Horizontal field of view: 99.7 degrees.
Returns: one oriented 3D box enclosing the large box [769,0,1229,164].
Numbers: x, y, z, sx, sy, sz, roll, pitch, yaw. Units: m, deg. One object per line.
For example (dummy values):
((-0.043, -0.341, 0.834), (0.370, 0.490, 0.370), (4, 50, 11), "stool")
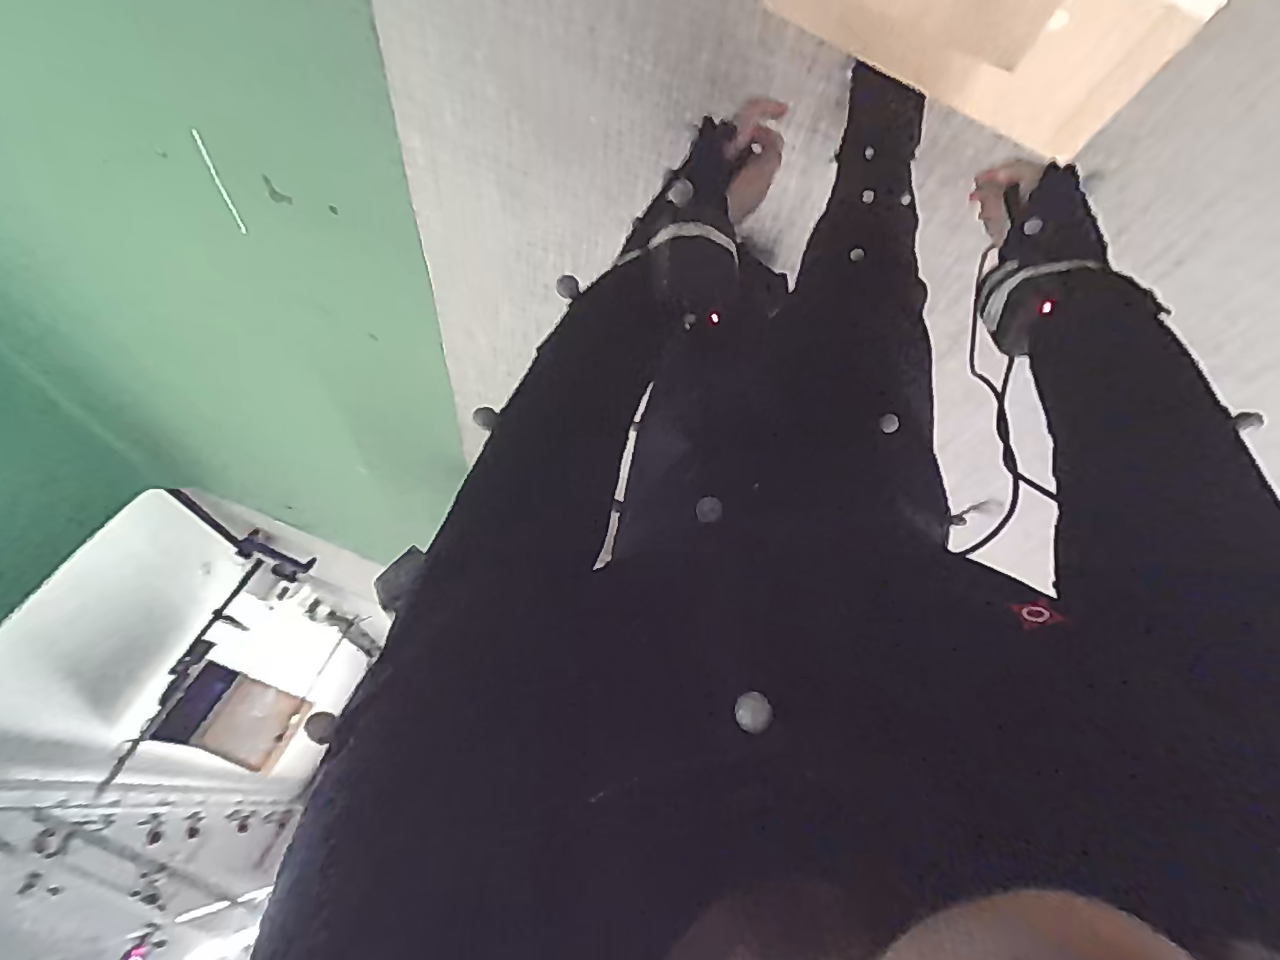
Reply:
((0.408, -0.635, 0.581), (0.408, 0.320, 0.320), (24, 148, -3), "large box")
